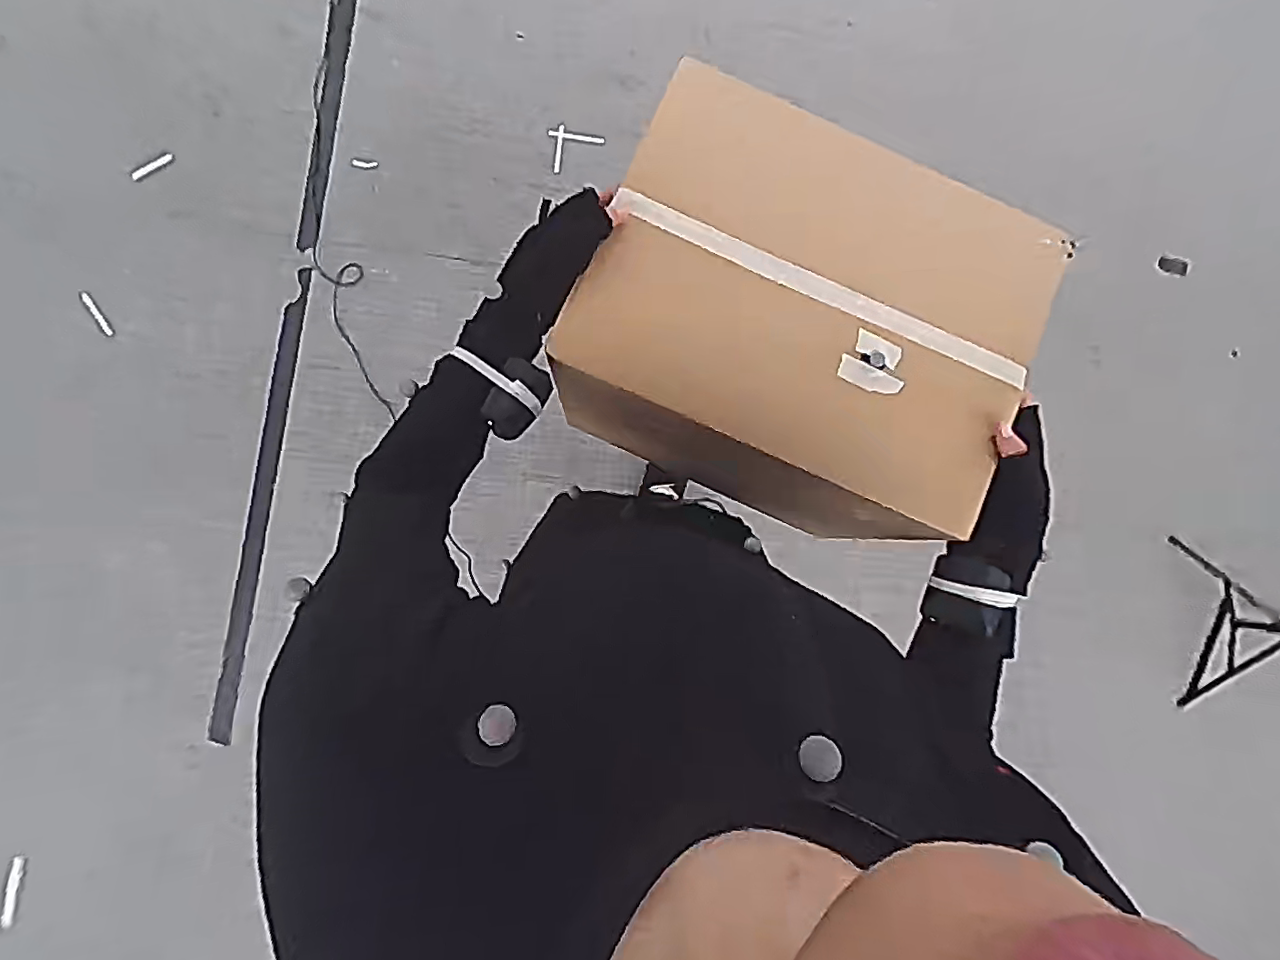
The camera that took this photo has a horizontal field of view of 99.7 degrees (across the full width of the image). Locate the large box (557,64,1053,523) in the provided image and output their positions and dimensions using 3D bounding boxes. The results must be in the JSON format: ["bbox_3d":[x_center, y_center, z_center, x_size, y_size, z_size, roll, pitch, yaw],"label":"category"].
[{"bbox_3d":[0.149,-0.166,0.647,0.408,0.320,0.320,24,84,-3],"label":"large box"}]
